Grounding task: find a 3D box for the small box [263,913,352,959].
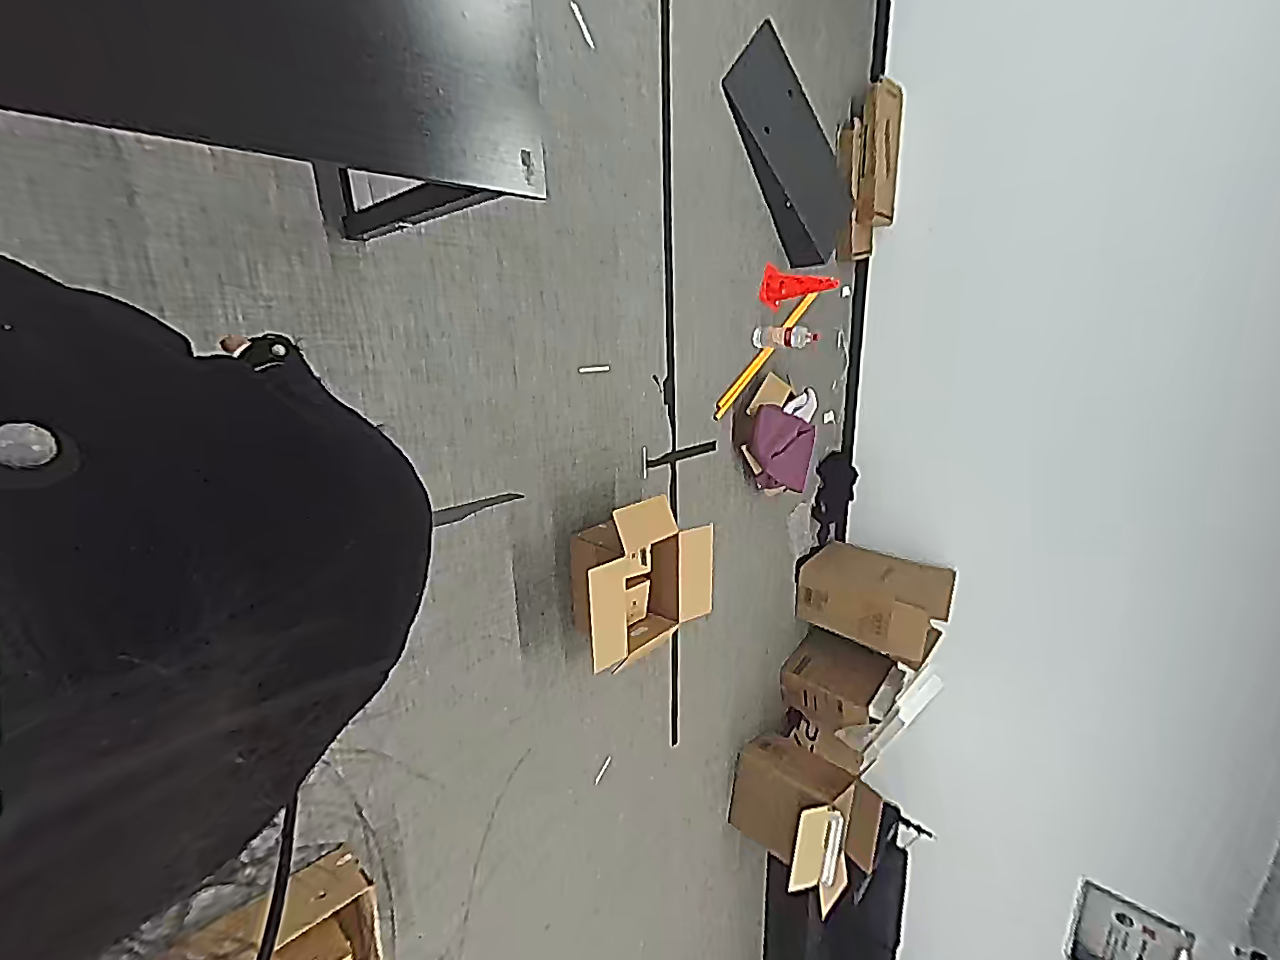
[{"bbox_3d":[-0.904,1.355,1.478,0.179,0.176,0.168,-13,107,-45],"label":"small box"}]
